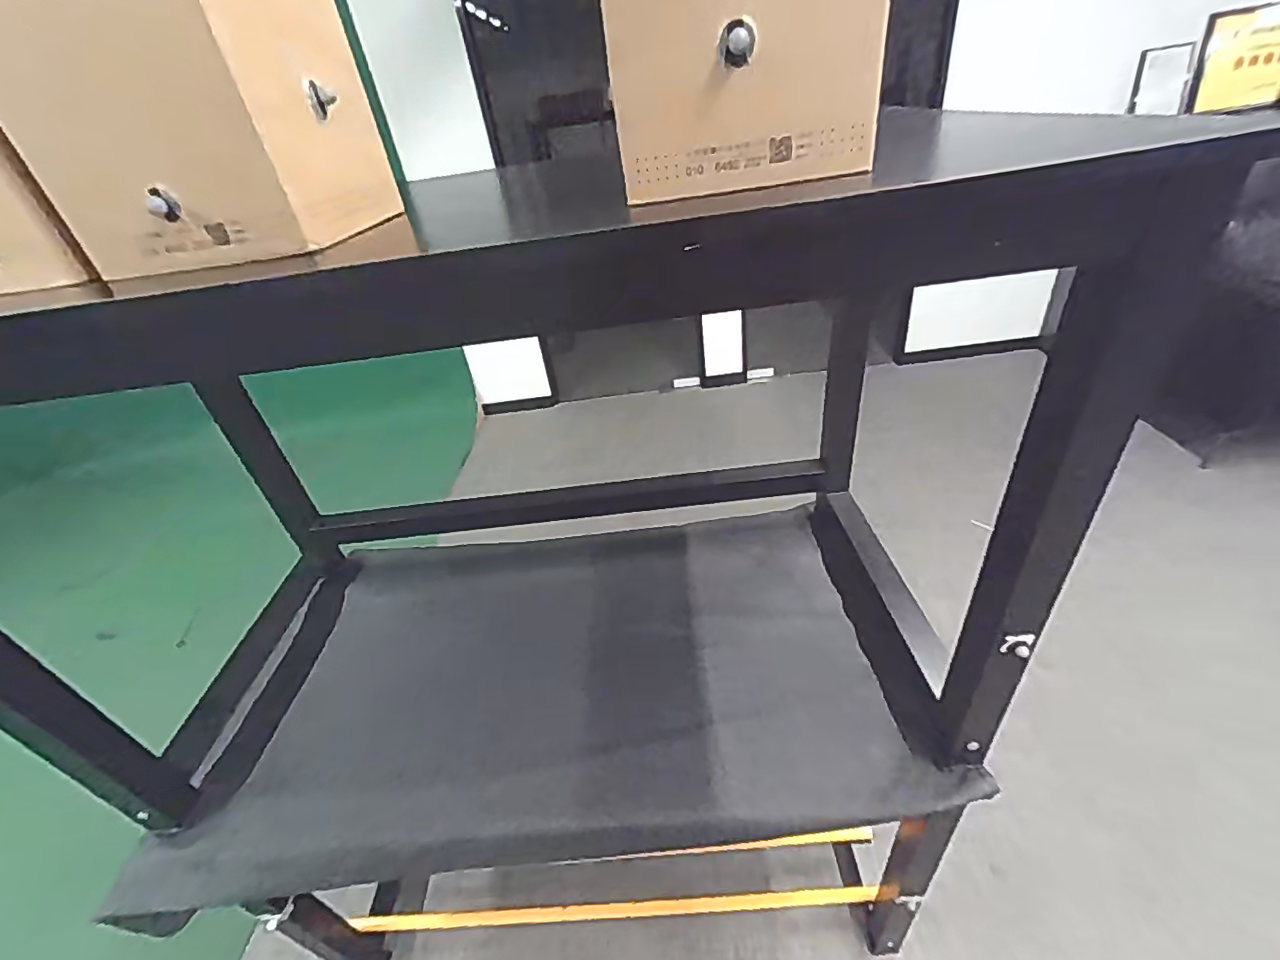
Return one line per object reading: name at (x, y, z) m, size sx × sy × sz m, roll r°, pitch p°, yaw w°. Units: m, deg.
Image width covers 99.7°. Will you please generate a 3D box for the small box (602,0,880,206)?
small box at (0.064, -0.306, 0.391) m, size 0.168 × 0.176 × 0.179 m, roll -5°, pitch 35°, yaw 4°
